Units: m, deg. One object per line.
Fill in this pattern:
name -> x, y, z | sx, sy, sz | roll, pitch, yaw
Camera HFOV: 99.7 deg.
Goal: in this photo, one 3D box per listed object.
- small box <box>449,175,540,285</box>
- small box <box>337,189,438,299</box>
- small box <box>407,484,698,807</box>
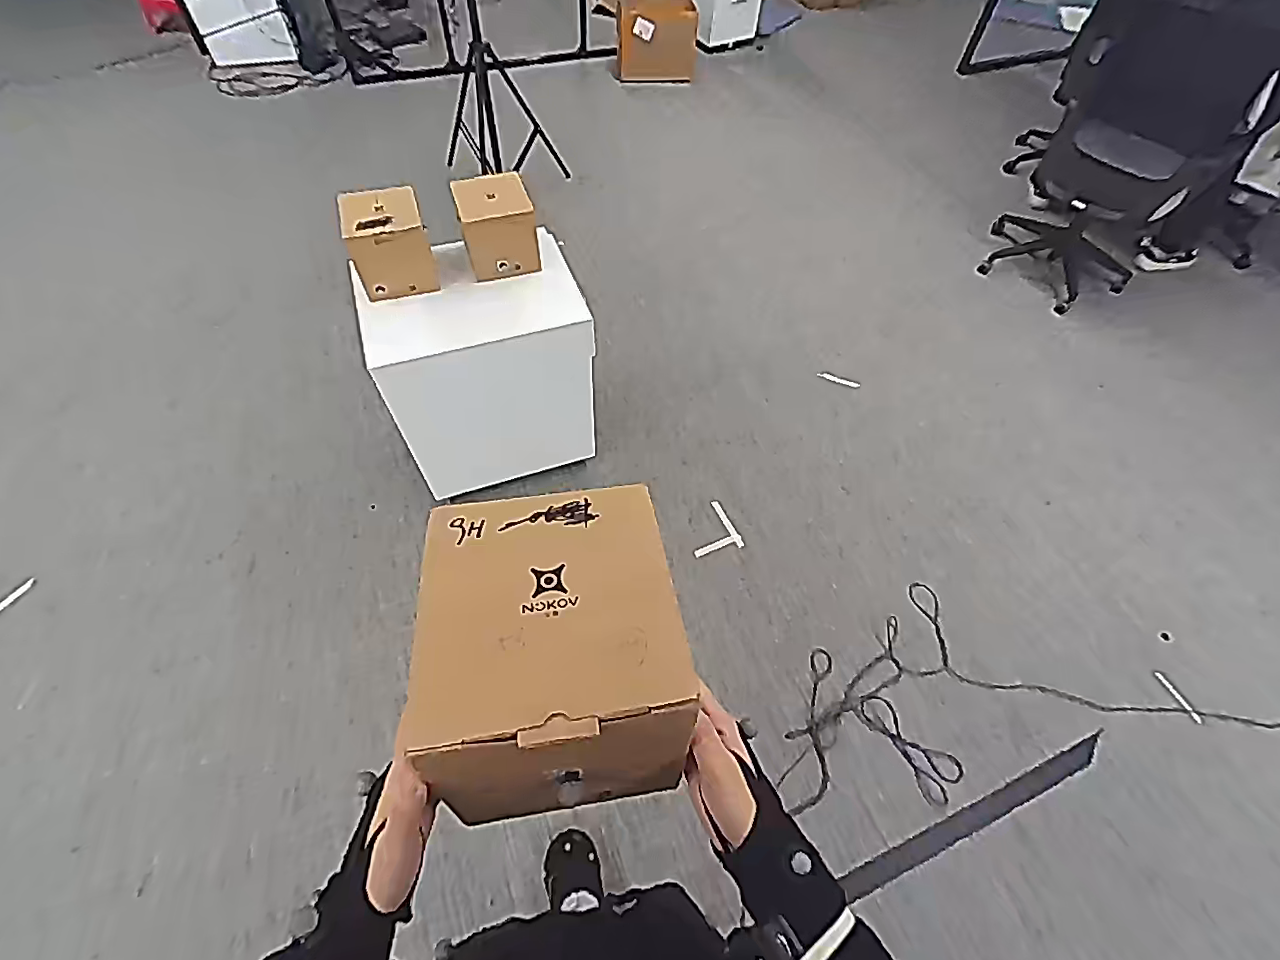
small box -> -0.352, -0.611, 1.327 | 0.168, 0.176, 0.179 | -18, 61, -13
small box -> -0.586, -0.546, 1.267 | 0.168, 0.176, 0.179 | -15, 59, -14
small box -> -0.060, 0.129, 0.412 | 0.168, 0.176, 0.179 | -6, 48, -8
